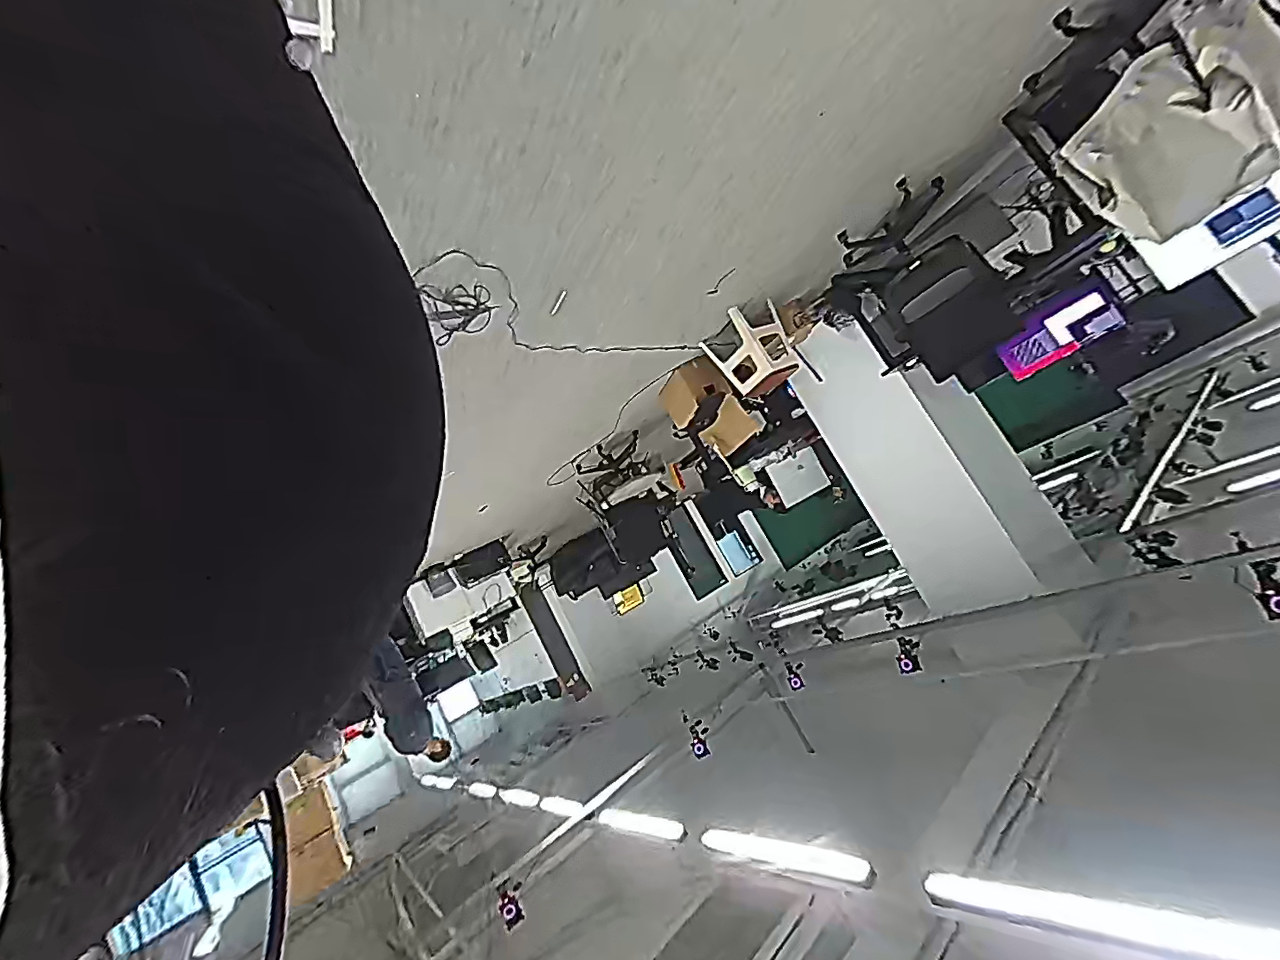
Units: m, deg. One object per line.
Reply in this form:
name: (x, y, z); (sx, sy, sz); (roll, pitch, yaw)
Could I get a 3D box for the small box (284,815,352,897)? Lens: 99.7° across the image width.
small box: (-1.179, 1.371, 1.988); (0.168, 0.176, 0.179); (-22, 171, -29)

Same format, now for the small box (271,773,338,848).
small box: (-1.250, 1.225, 2.022); (0.168, 0.176, 0.179); (-21, 170, -31)
